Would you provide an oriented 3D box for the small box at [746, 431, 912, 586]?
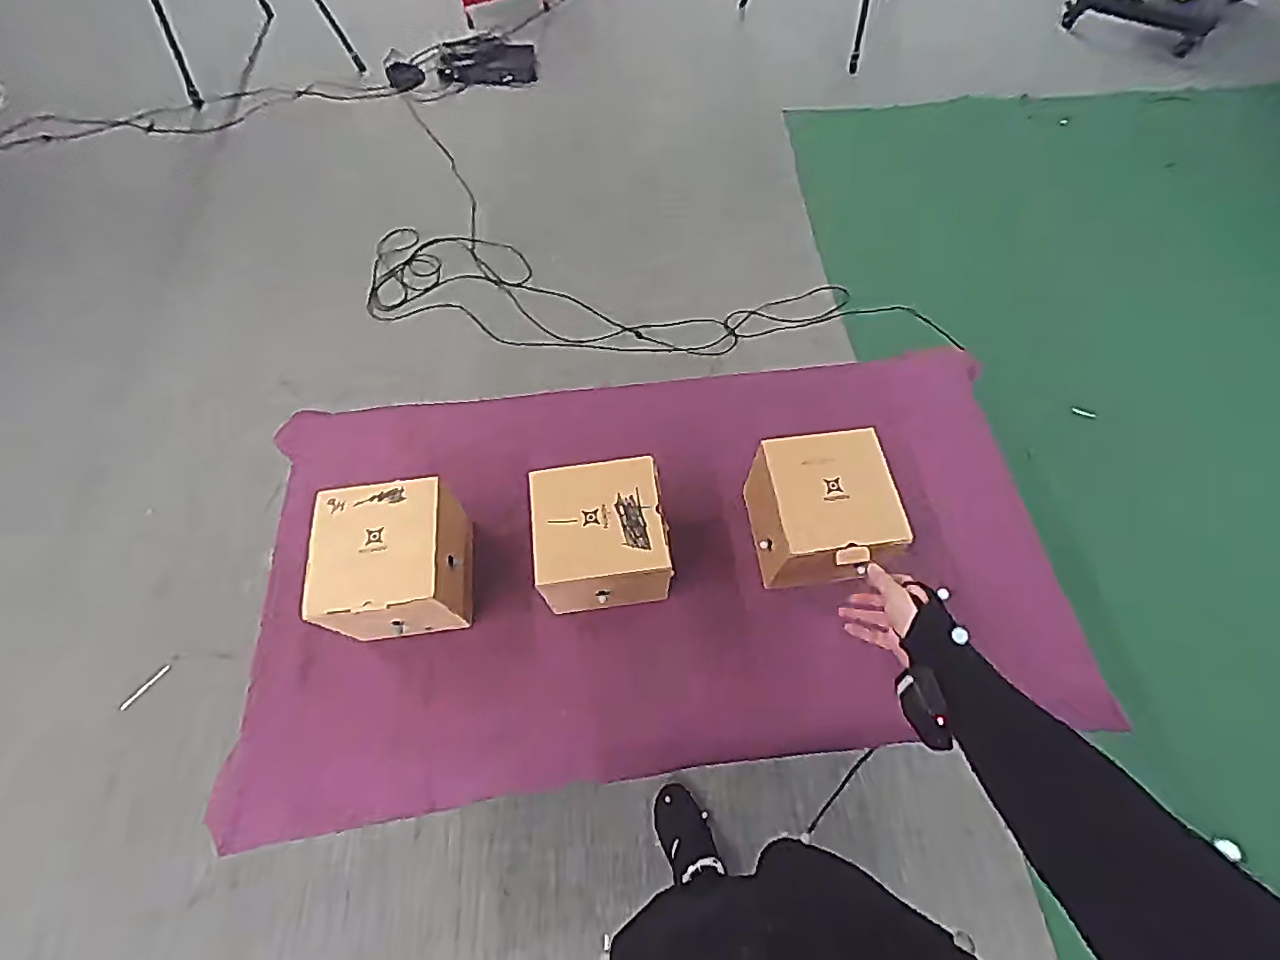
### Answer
[{"bbox_3d":[0.263,0.051,0.798,0.168,0.176,0.179,-6,63,-2],"label":"small box"}]

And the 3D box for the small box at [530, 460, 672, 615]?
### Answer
[{"bbox_3d":[-0.054,0.089,0.786,0.179,0.176,0.168,-8,64,-2],"label":"small box"}]

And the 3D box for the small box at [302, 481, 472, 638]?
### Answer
[{"bbox_3d":[-0.345,0.123,0.773,0.168,0.176,0.179,-7,64,-3],"label":"small box"}]
